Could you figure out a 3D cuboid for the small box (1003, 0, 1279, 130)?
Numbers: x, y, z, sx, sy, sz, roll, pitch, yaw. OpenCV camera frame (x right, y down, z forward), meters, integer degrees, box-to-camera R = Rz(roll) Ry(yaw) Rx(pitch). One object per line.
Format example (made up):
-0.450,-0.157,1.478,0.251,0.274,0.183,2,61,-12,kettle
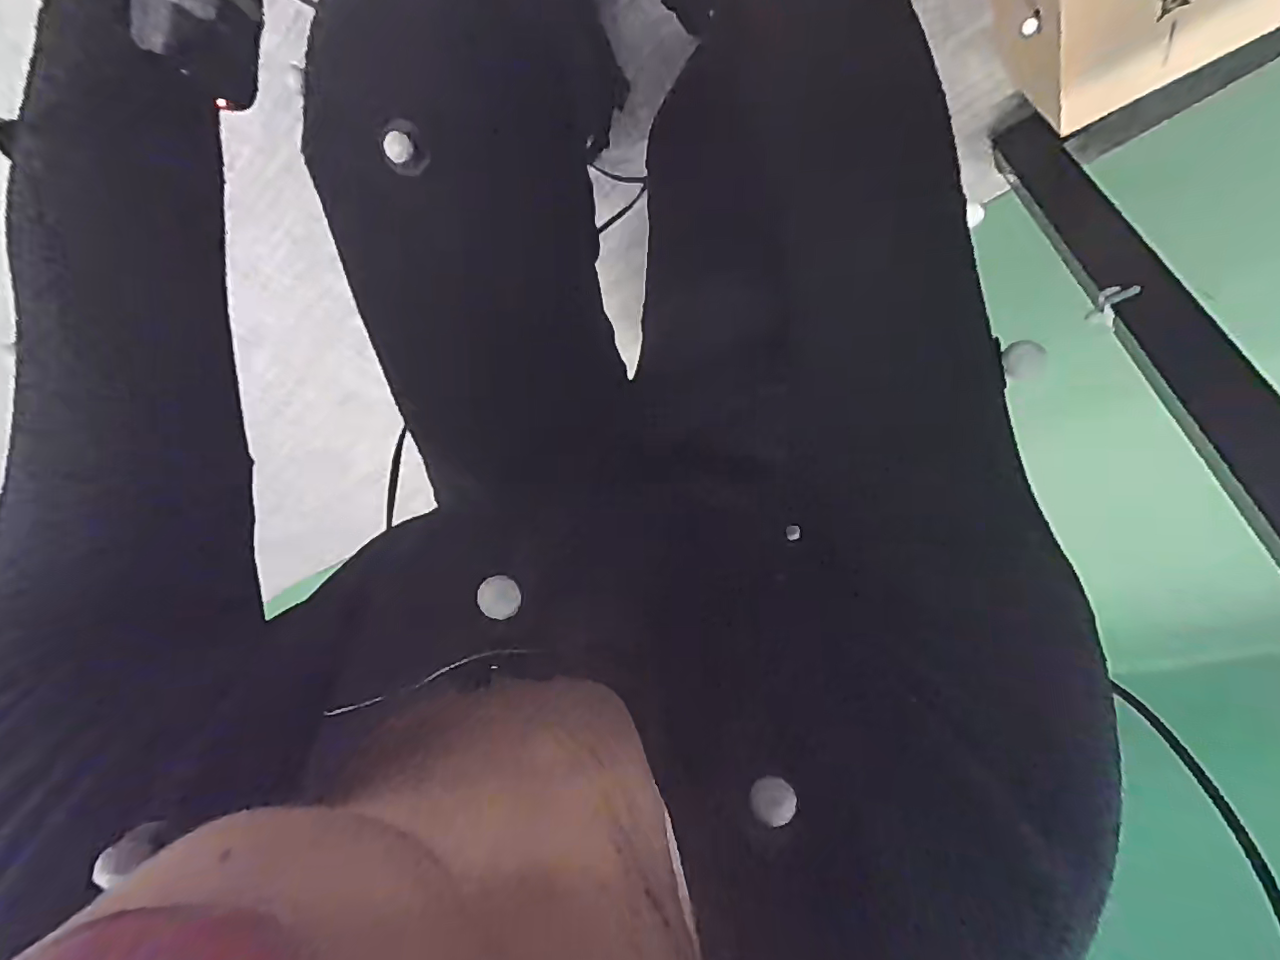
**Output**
0.443,-0.474,0.481,0.168,0.176,0.179,-19,143,28,small box
